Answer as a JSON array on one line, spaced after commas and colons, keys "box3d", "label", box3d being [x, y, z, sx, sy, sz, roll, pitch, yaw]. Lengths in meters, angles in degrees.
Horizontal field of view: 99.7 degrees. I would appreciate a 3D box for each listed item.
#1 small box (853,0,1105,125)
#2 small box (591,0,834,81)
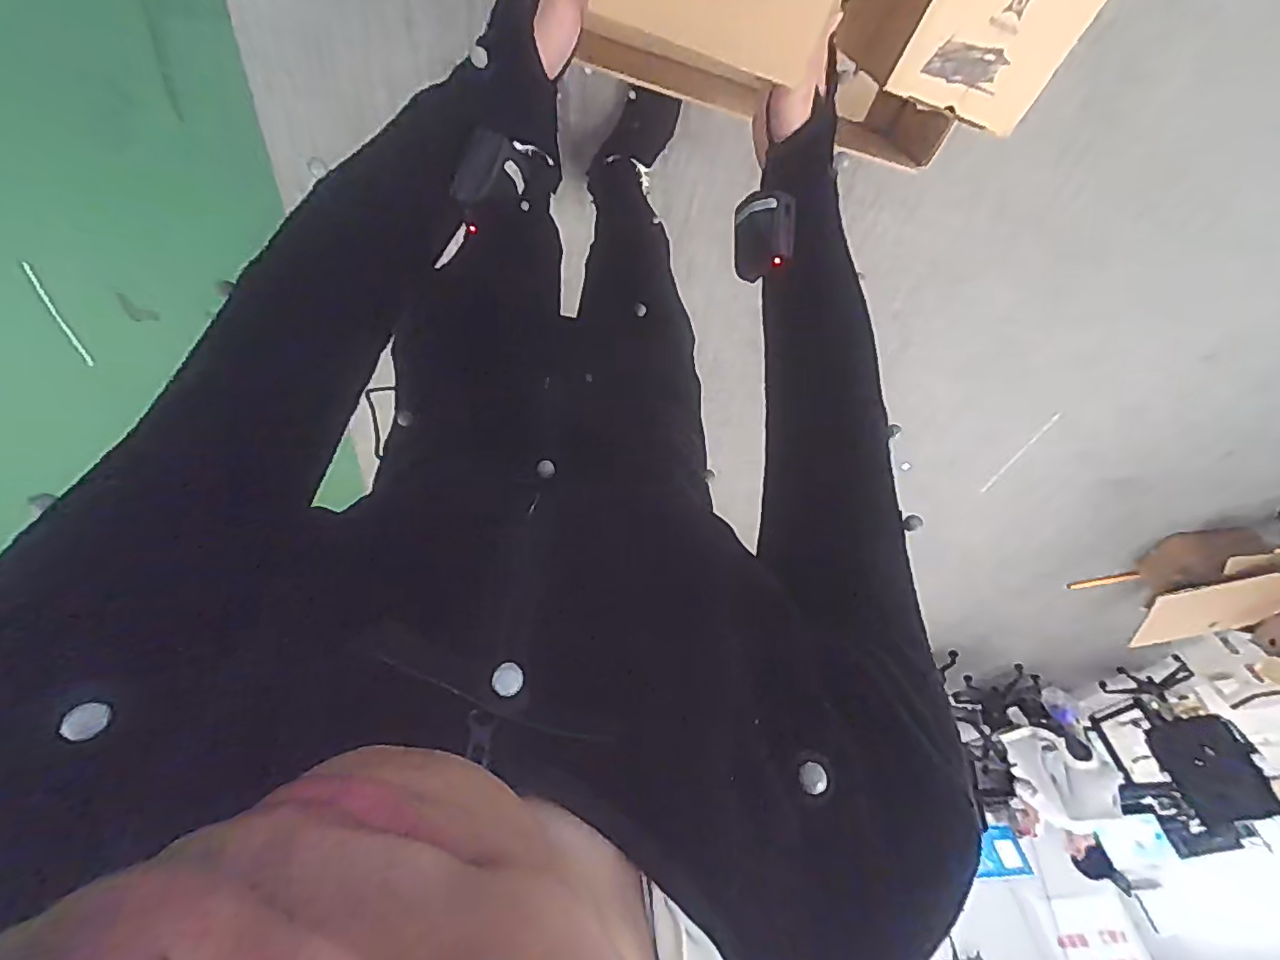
[{"box3d": [0.342, -0.506, 0.547, 0.168, 0.176, 0.179, 7, 139, -15], "label": "small box"}, {"box3d": [0.059, -0.420, 0.367, 0.168, 0.176, 0.179, 9, 138, -14], "label": "small box"}]
